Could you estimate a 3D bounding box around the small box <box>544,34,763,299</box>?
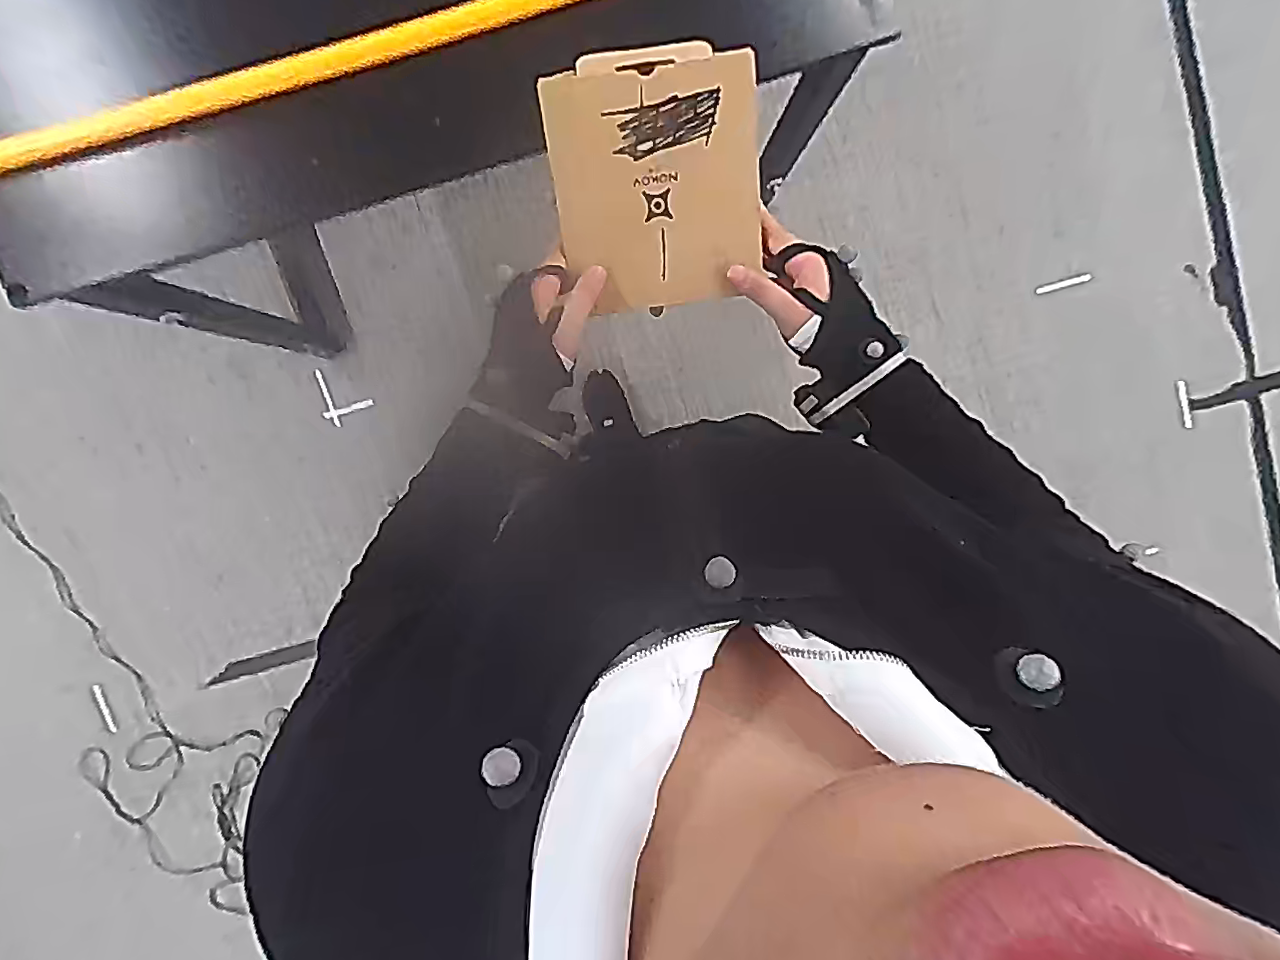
[{"bbox_3d":[0.013,-0.271,0.506,0.168,0.176,0.179,-7,112,1],"label":"small box"}]
